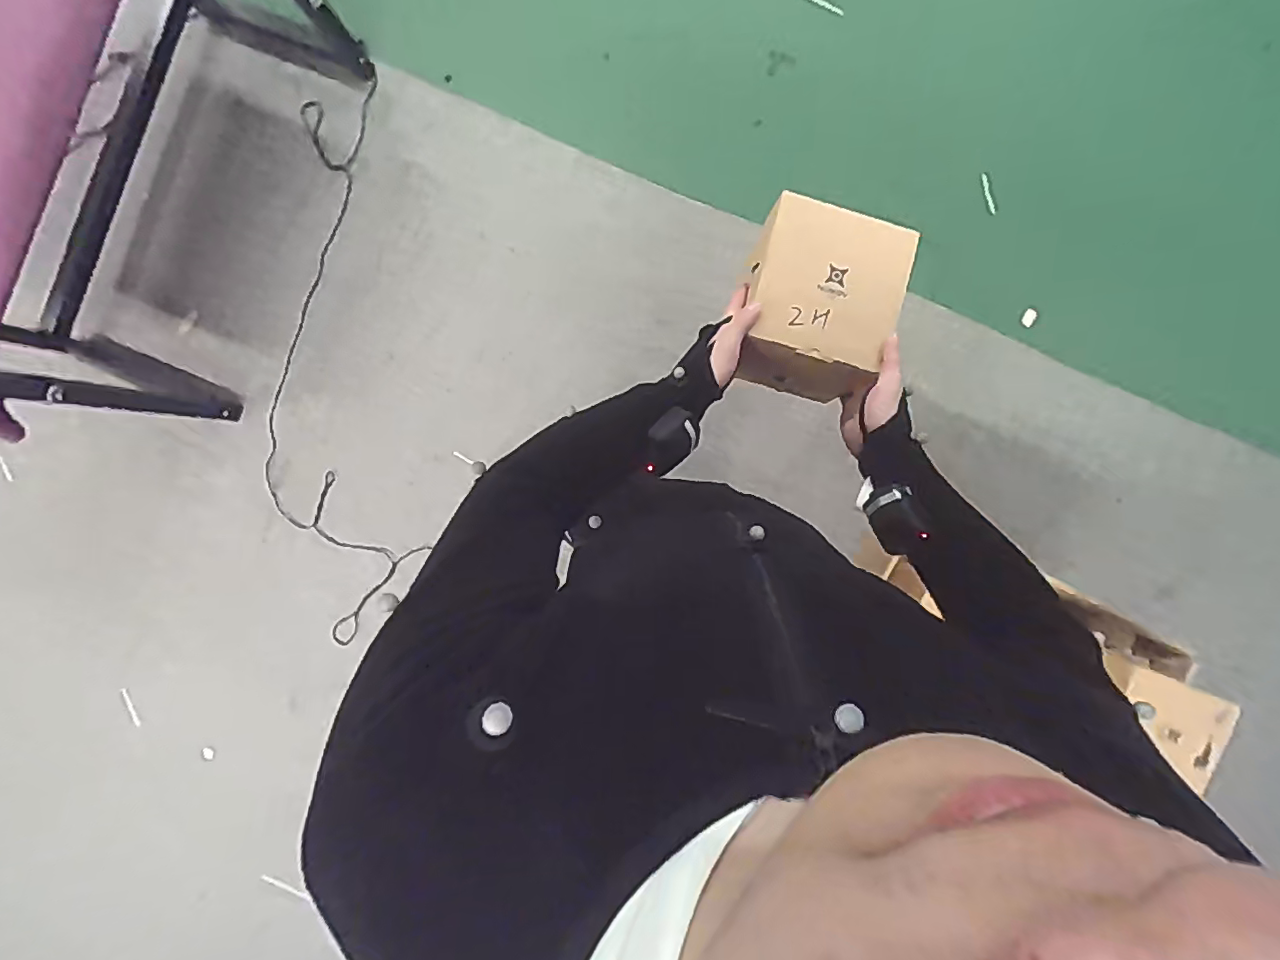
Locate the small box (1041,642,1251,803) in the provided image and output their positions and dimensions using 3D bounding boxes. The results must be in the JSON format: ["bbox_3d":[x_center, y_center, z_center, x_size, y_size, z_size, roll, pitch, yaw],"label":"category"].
[{"bbox_3d":[0.850,0.401,0.931,0.179,0.176,0.168,22,94,4],"label":"small box"}]

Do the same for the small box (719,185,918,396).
[{"bbox_3d":[0.208,-0.221,0.677,0.168,0.176,0.179,16,88,-1],"label":"small box"}]
